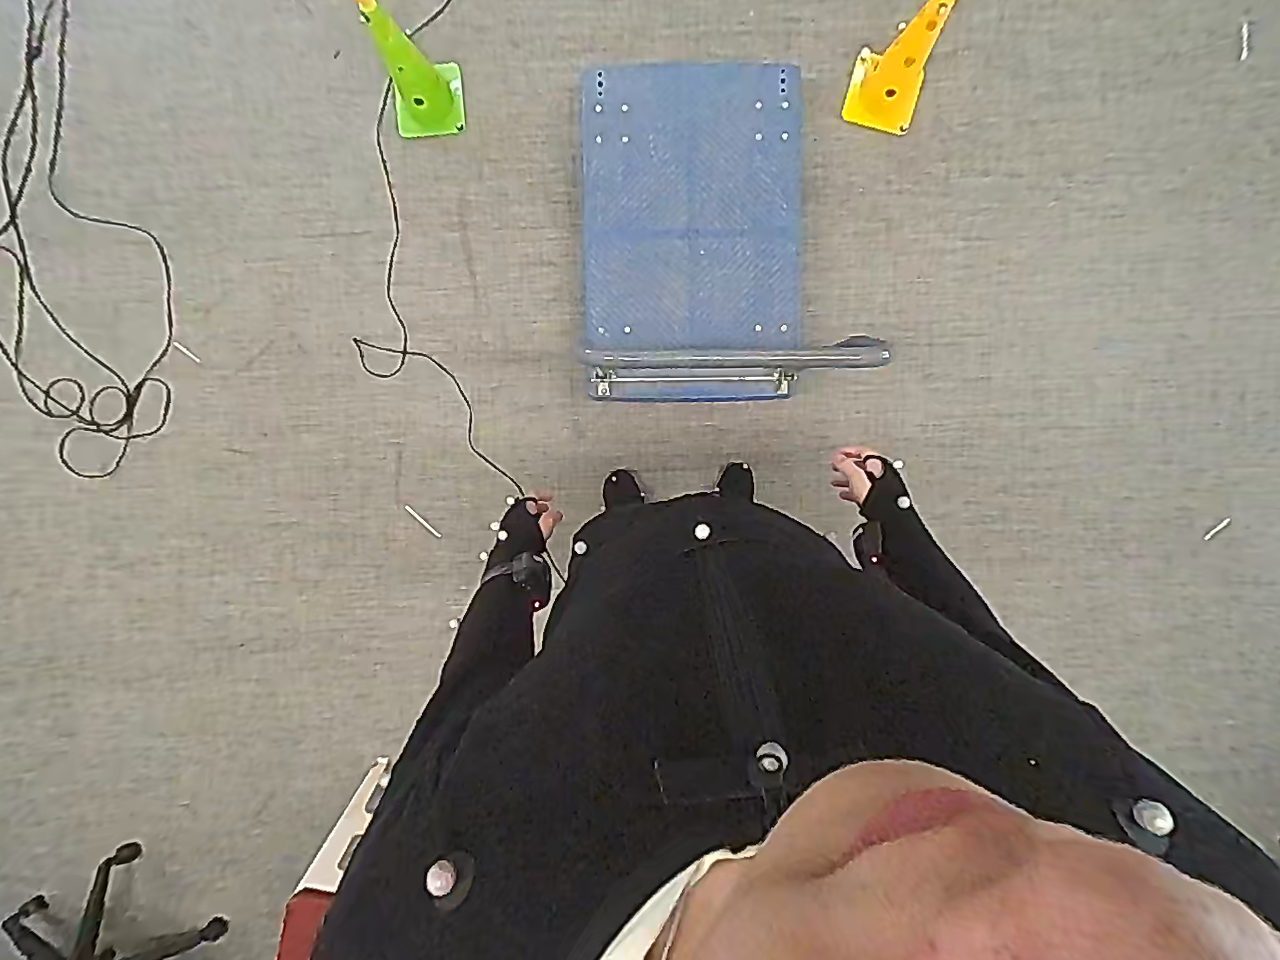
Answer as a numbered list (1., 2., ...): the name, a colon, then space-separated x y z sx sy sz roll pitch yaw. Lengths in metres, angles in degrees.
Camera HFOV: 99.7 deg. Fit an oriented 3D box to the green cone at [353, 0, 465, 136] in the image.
1. green cone: -0.630 -1.119 1.422 0.202 0.368 0.200 -5 92 3
